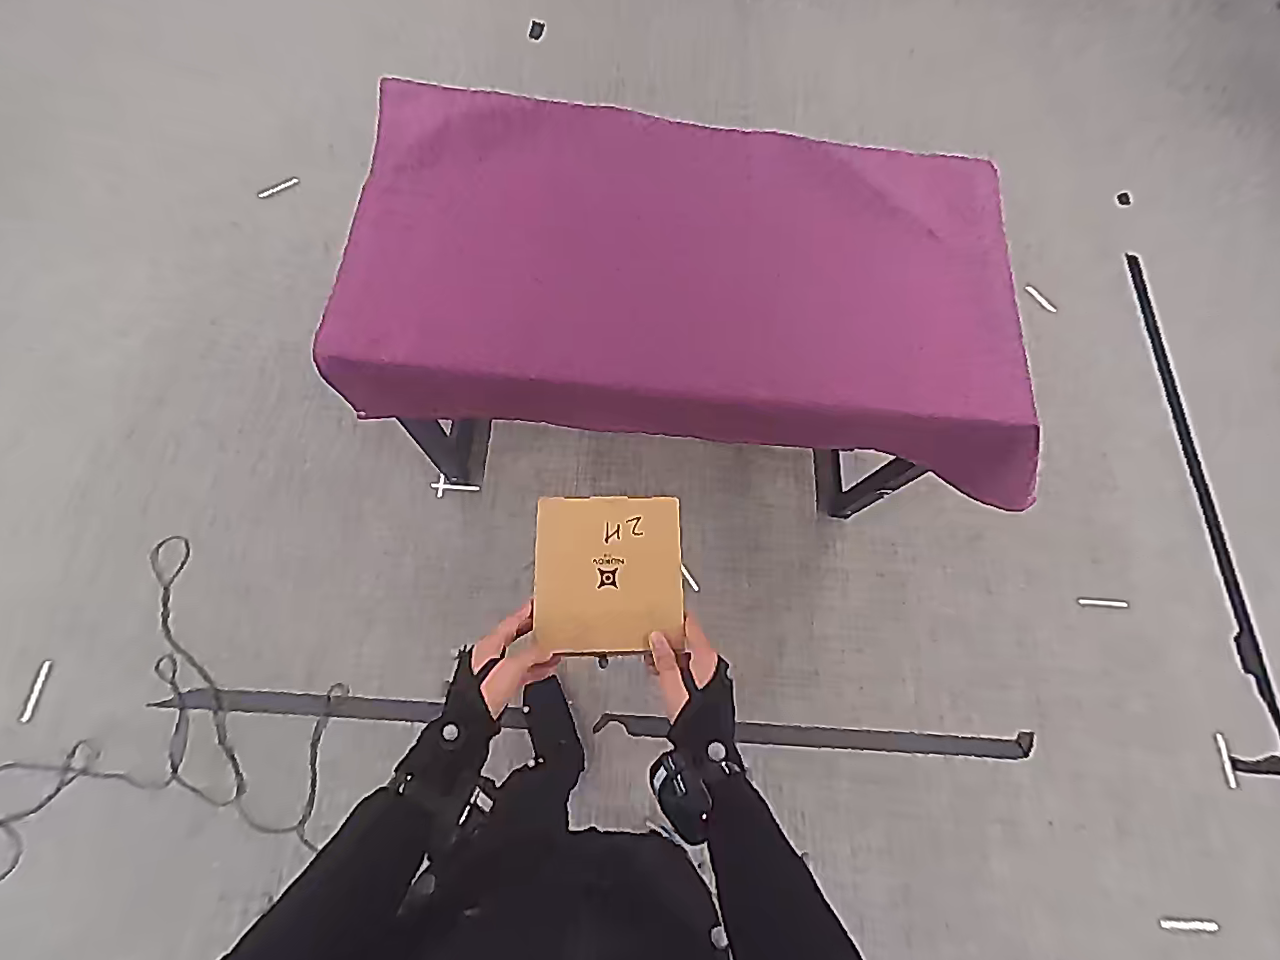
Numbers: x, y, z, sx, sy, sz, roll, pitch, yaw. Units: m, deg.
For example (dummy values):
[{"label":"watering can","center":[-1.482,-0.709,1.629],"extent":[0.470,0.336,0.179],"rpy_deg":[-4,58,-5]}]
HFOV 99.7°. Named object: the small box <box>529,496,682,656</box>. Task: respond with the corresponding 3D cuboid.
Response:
[{"label":"small box","center":[-0.040,0.127,0.672],"extent":[0.168,0.176,0.179],"rpy_deg":[1,70,-4]}]
